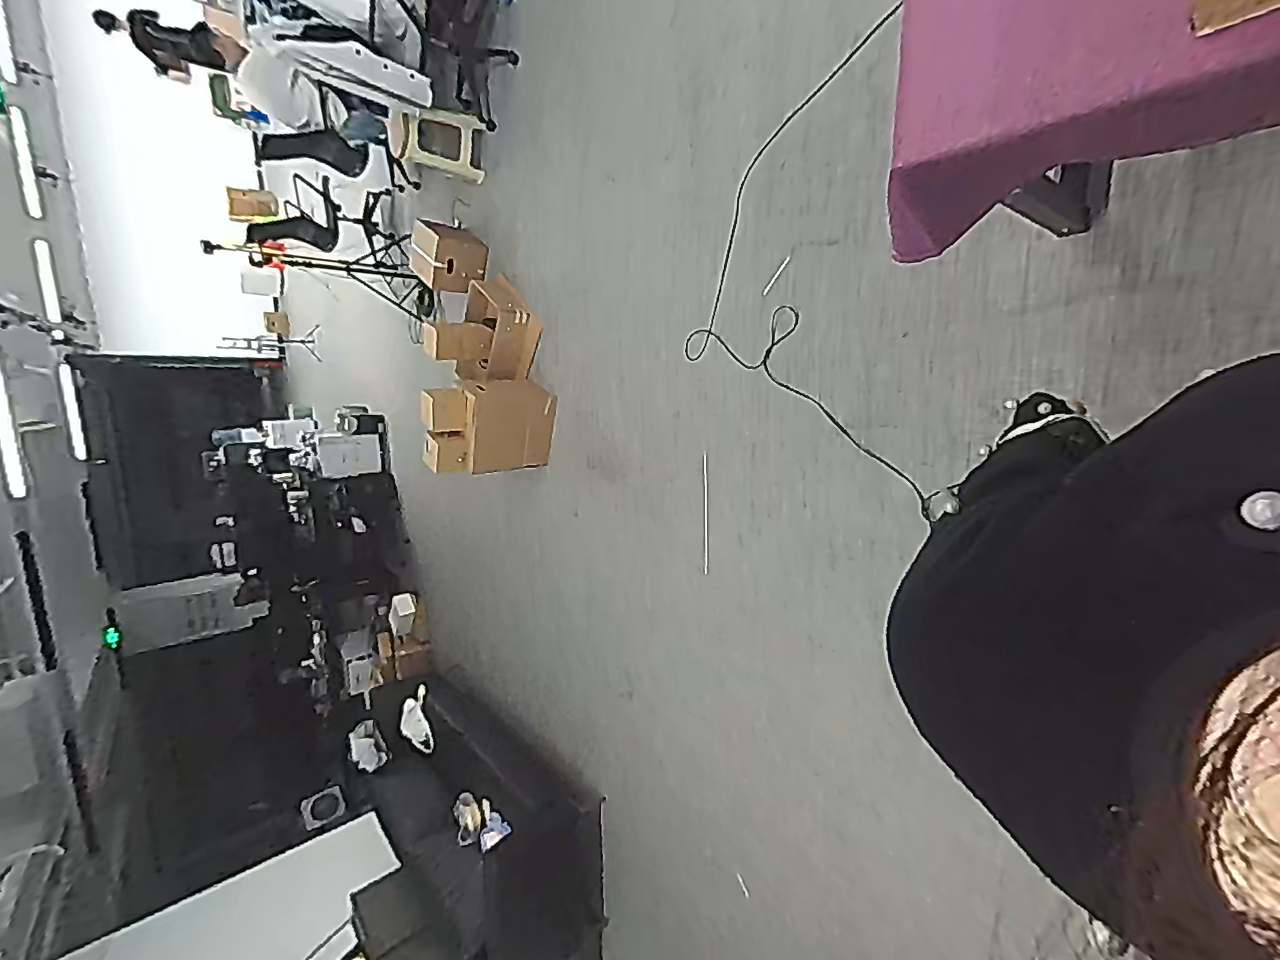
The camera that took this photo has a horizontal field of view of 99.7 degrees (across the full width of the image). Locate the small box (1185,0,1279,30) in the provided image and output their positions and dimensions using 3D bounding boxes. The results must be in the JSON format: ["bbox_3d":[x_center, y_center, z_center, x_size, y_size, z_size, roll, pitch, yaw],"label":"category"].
[{"bbox_3d":[0.547,-0.518,0.425,0.168,0.176,0.179,9,104,49],"label":"small box"}]
